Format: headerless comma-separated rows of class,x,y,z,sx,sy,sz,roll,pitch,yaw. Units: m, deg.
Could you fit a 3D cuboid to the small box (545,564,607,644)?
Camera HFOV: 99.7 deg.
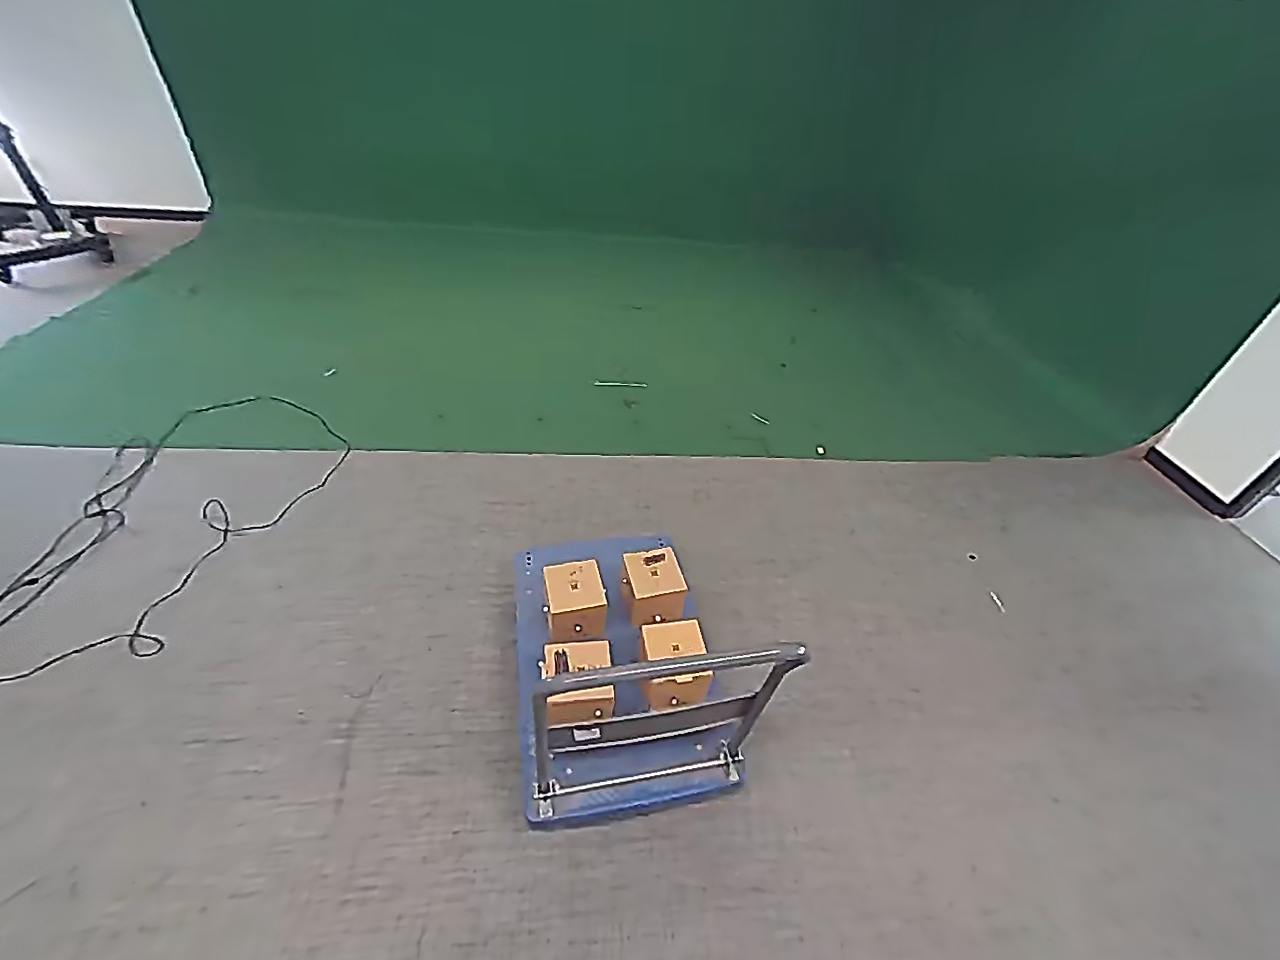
small box,-0.201,0.391,1.683,0.168,0.176,0.179,-6,43,-15

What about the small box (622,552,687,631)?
small box,0.040,0.360,1.746,0.168,0.176,0.179,-7,44,-13

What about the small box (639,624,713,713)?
small box,0.095,0.539,1.551,0.168,0.176,0.179,-4,43,-11
